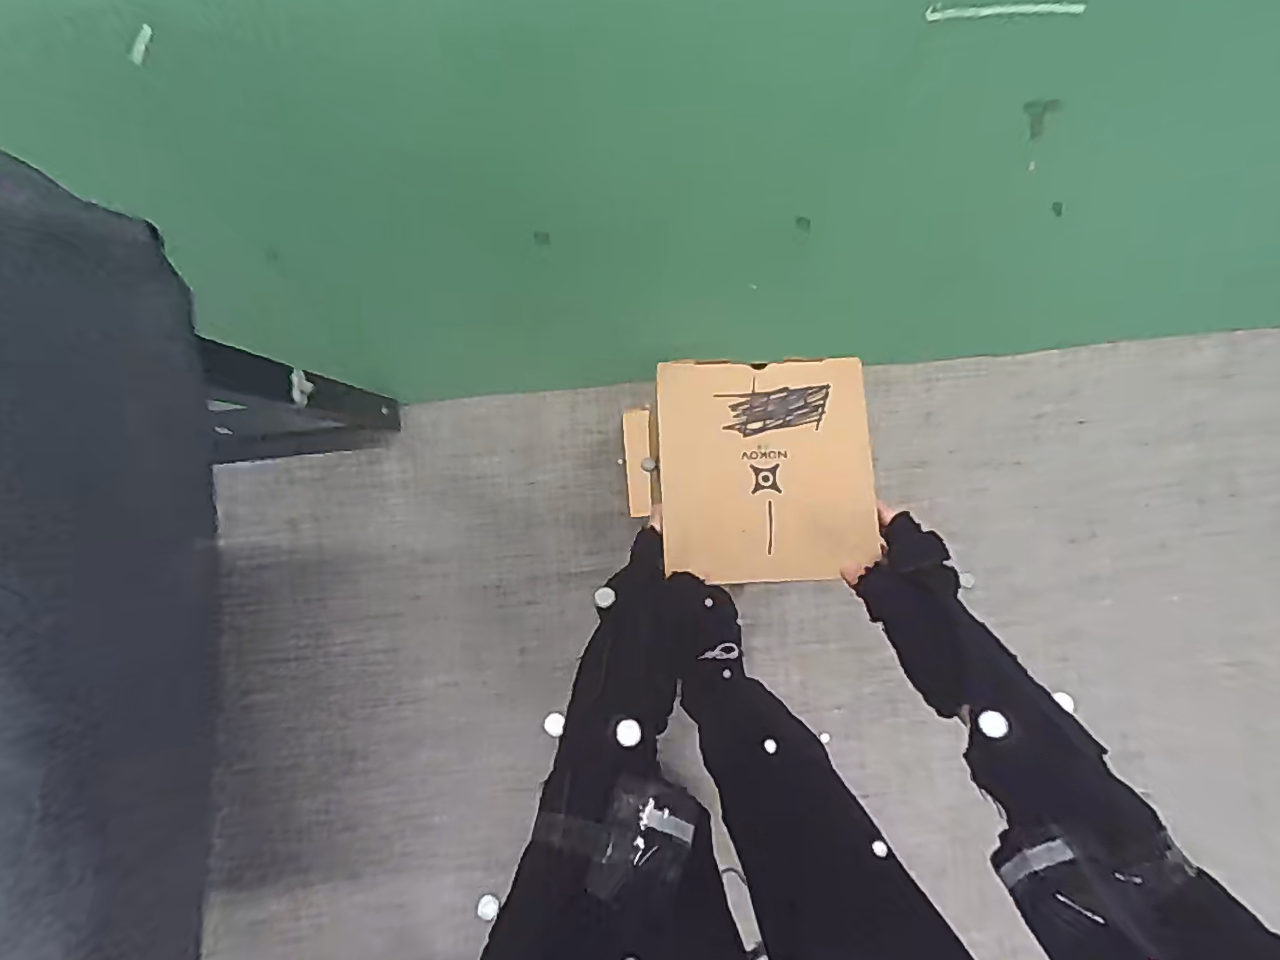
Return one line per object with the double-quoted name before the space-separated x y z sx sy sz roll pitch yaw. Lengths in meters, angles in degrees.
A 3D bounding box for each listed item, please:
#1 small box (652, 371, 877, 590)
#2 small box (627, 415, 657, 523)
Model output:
"small box" 0.097 0.011 0.505 0.168 0.176 0.179 -1 81 -1
"small box" 0.064 -0.021 0.950 0.168 0.176 0.179 -5 91 0
